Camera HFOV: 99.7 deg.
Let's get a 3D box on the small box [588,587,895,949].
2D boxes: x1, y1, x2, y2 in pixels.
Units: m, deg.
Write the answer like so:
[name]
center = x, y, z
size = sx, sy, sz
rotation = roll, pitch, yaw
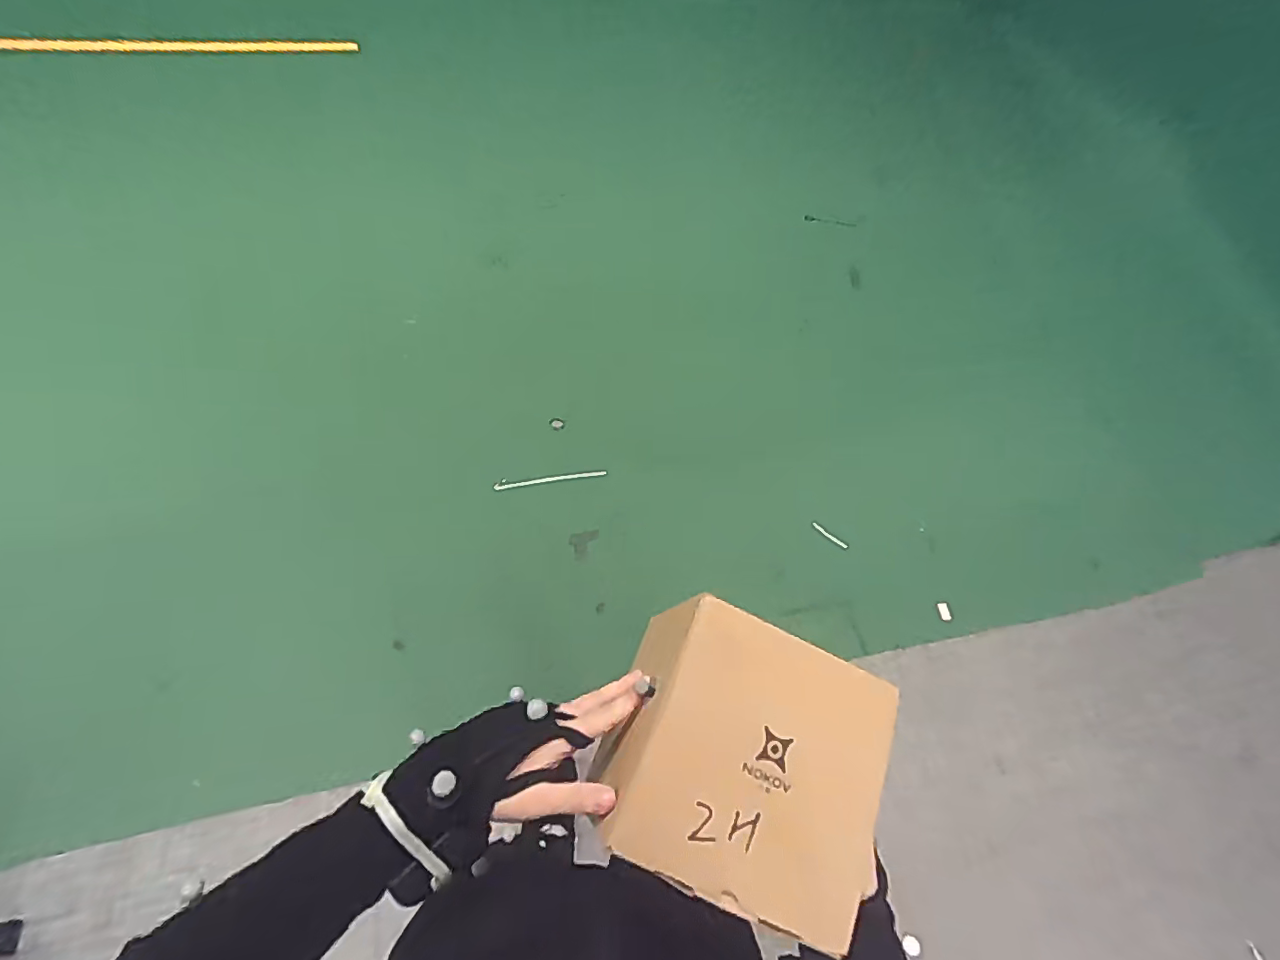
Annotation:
[small box]
center = 0.069, 0.213, 0.439
size = 0.168, 0.176, 0.179
rotation = 27, 65, -2
